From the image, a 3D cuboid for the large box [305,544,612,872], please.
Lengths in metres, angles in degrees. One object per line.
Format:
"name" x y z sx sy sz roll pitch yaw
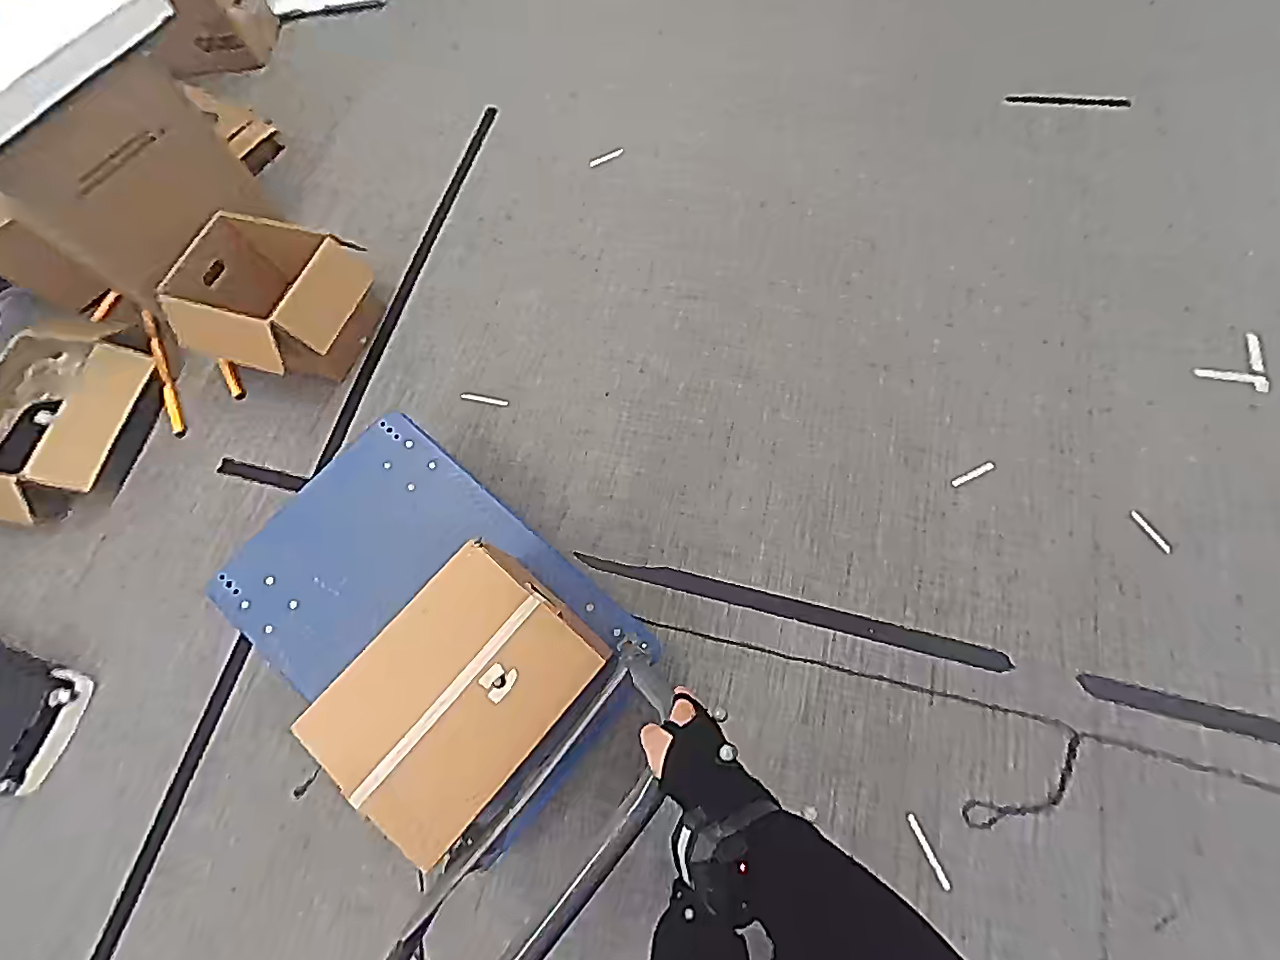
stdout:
"large box" -0.297 0.392 1.016 0.320 0.320 0.408 40 77 9
